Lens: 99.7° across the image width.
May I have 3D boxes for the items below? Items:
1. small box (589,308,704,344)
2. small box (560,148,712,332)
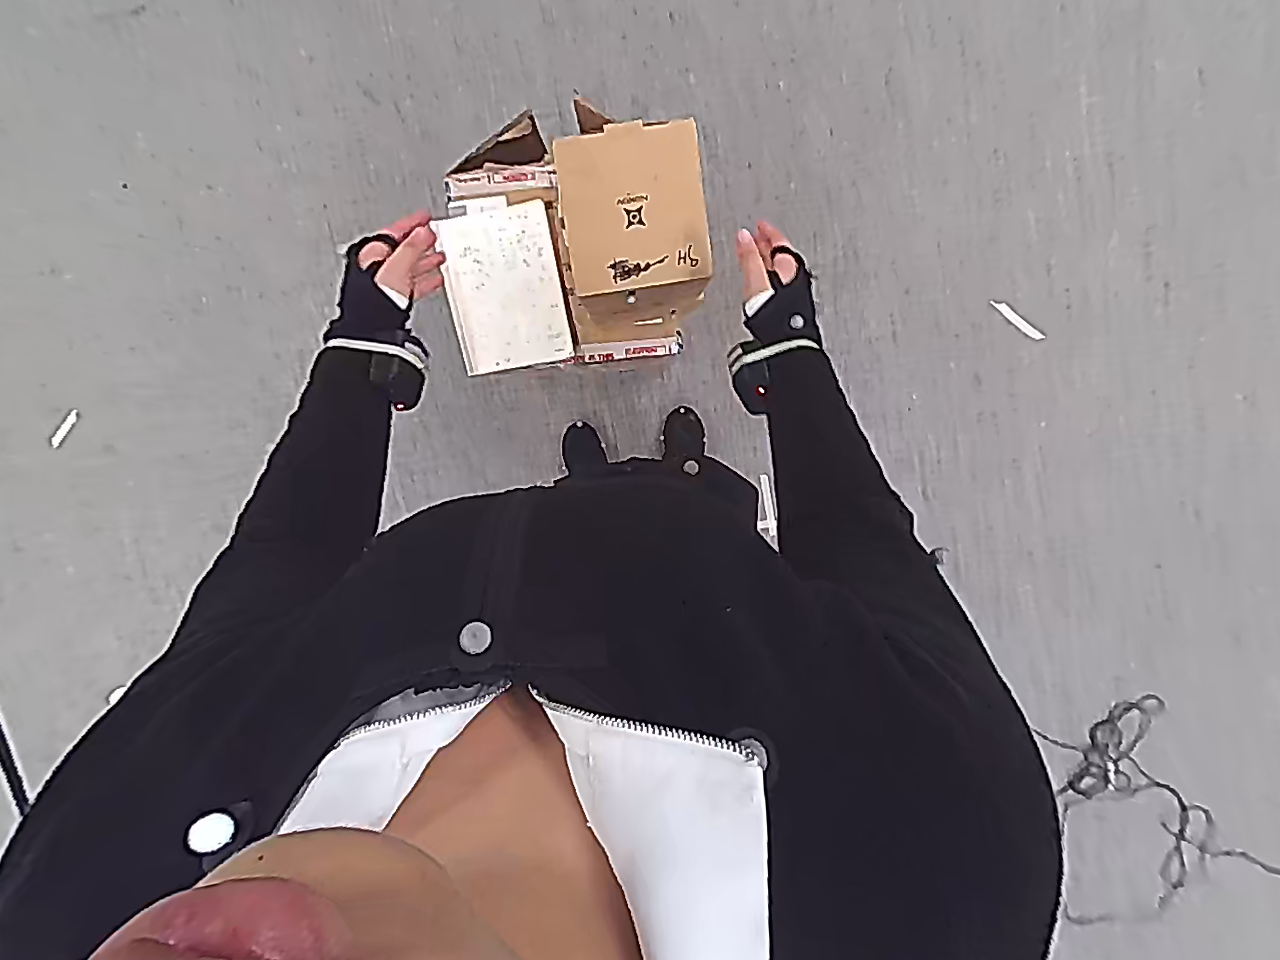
[{"bbox_3d":[-0.003,-0.323,0.883,0.179,0.176,0.168,-10,99,2],"label":"small box"},{"bbox_3d":[-0.006,-0.304,0.720,0.168,0.176,0.179,-8,99,1],"label":"small box"}]
